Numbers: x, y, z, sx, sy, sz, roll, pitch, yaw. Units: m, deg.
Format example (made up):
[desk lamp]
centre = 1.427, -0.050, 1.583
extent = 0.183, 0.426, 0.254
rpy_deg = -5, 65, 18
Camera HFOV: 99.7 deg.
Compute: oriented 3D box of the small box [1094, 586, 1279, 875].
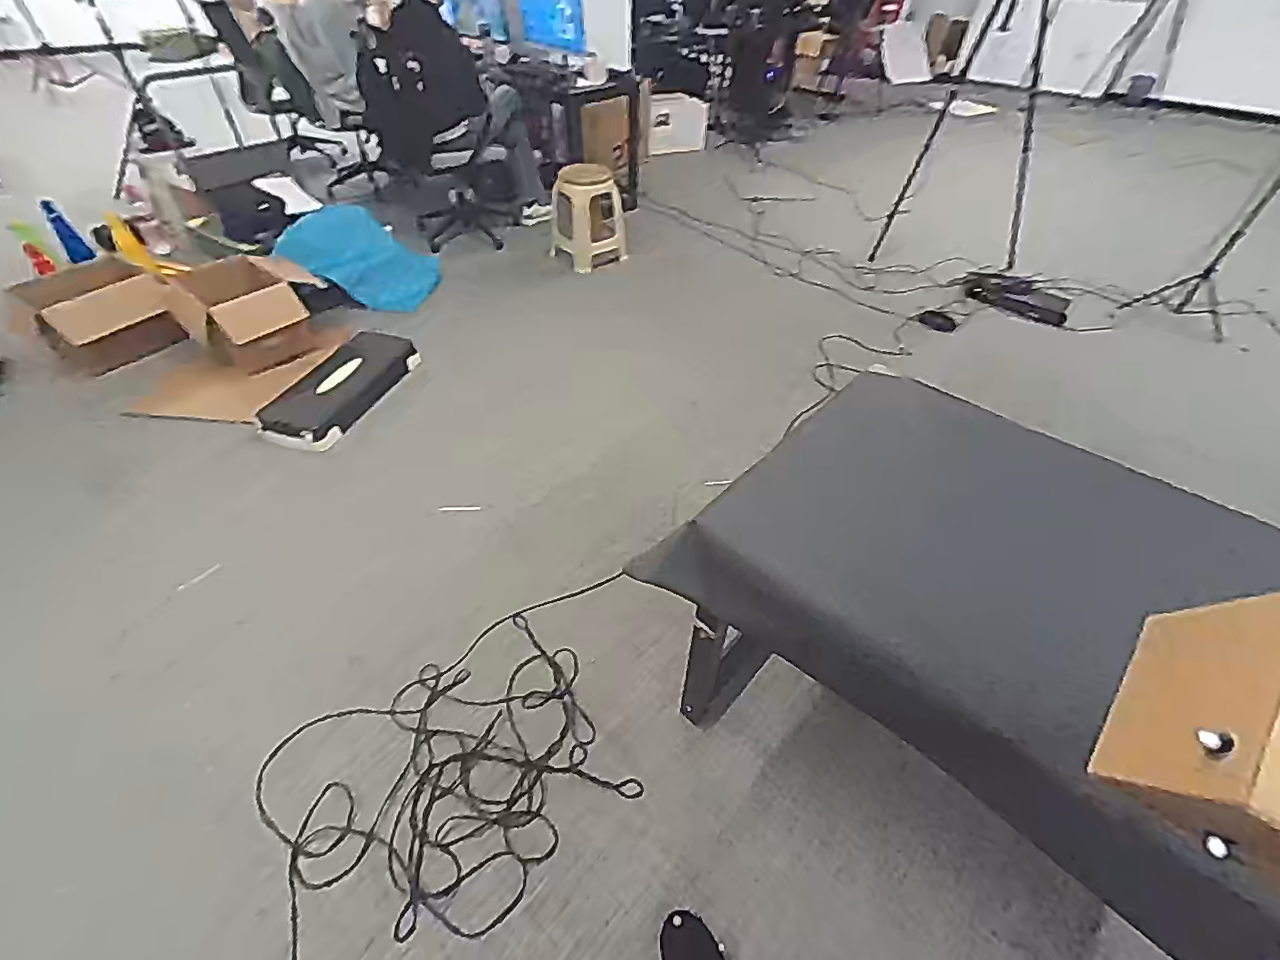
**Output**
[small box]
centre = 0.513, 0.200, 0.423
extent = 0.168, 0.176, 0.179
rpy_deg = 30, 76, 18
